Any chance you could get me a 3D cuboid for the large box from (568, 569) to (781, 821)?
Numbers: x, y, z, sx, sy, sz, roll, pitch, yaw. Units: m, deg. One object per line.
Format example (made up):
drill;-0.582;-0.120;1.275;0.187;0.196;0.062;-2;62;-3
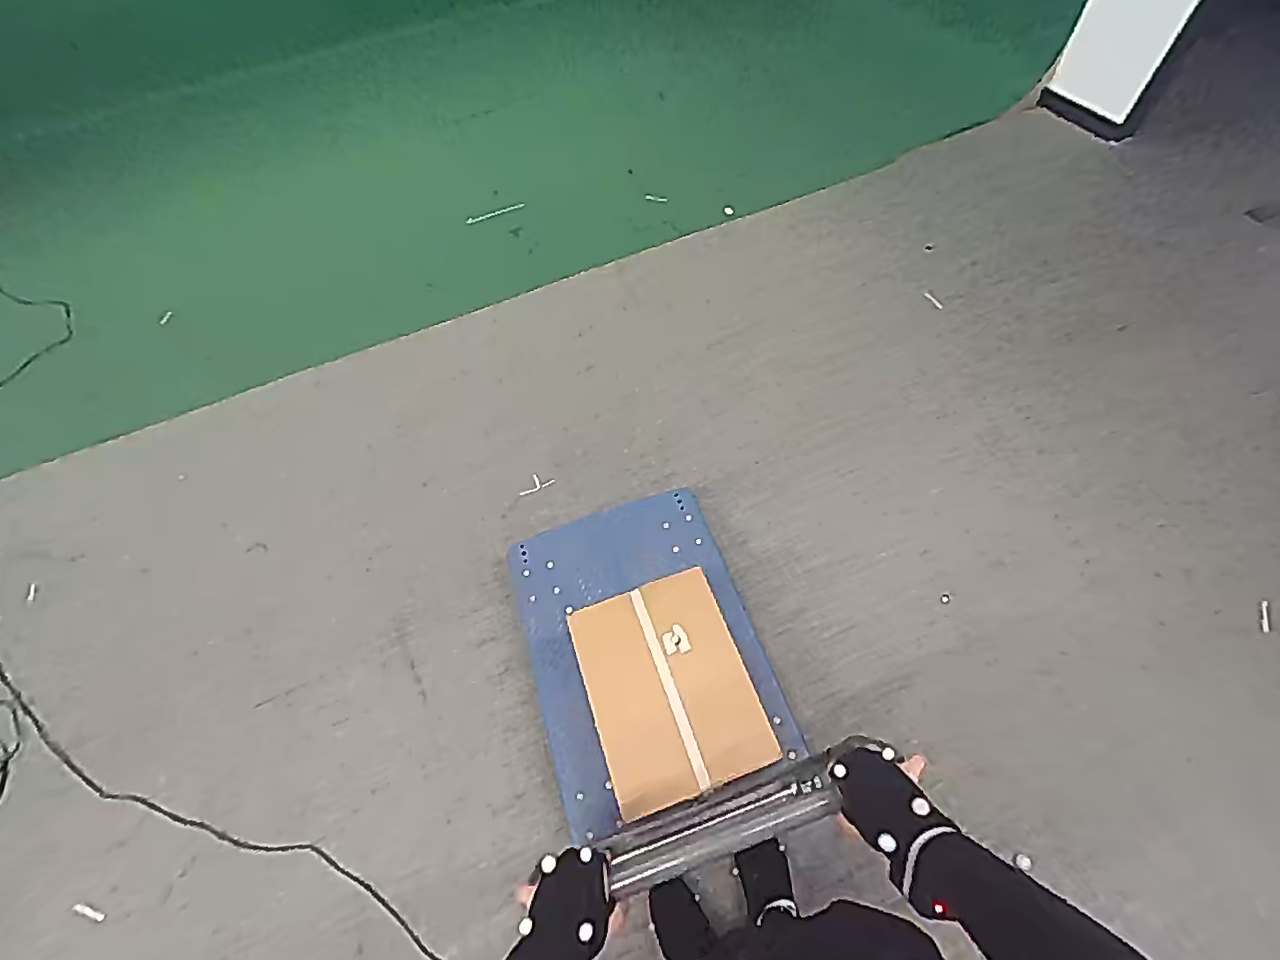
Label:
large box;0.067;0.477;1.199;0.320;0.320;0.408;-18;58;-7
